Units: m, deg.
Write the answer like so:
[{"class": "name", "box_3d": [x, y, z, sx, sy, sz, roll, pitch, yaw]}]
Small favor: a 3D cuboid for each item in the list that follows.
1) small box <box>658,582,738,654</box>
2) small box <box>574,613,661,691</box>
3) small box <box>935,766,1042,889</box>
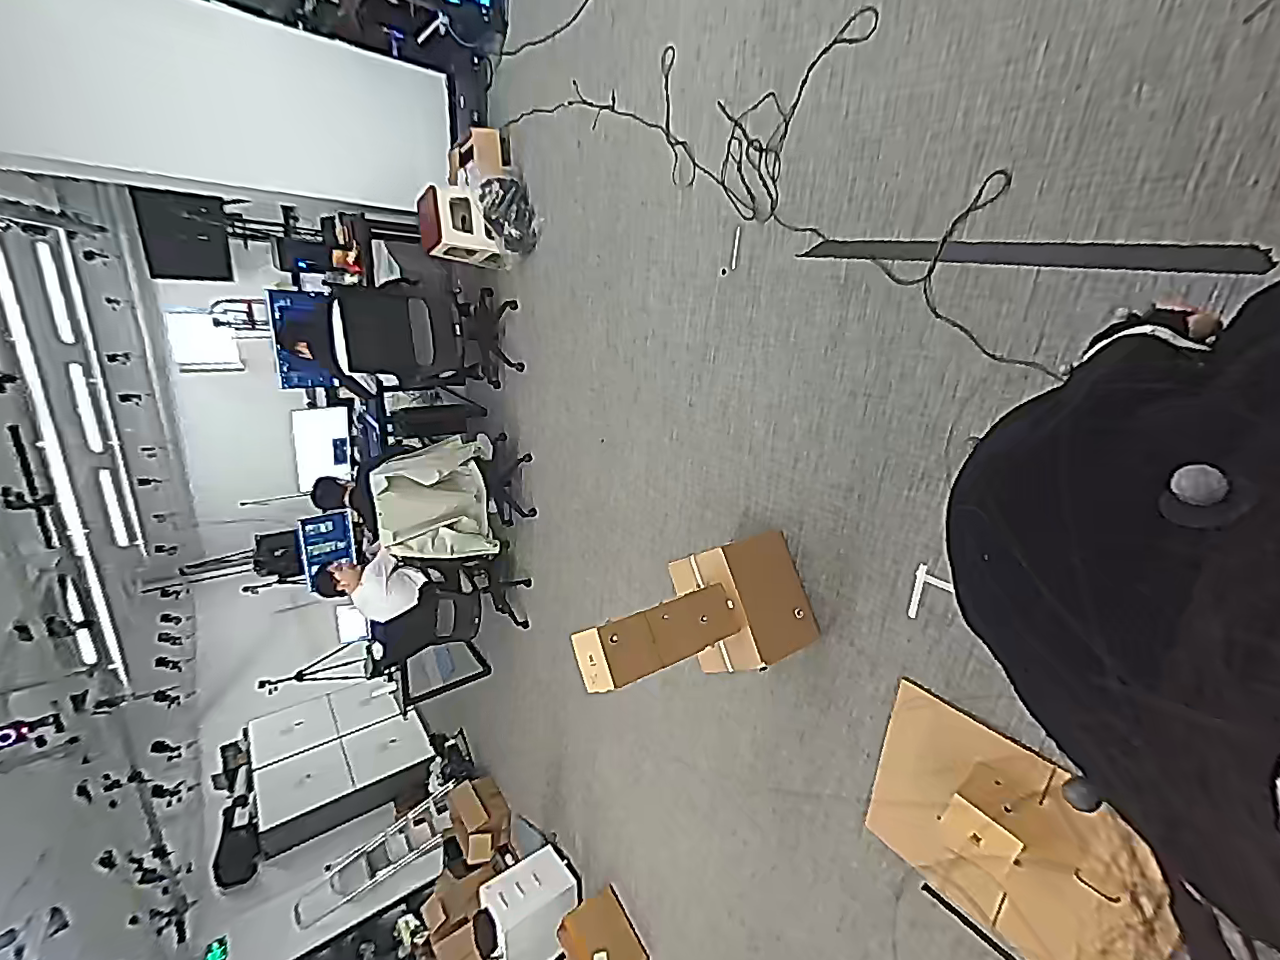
[{"class": "small box", "box_3d": [0.193, 0.452, 1.777, 0.168, 0.176, 0.179, -35, 69, 50]}, {"class": "small box", "box_3d": [-0.066, 0.498, 1.579, 0.168, 0.176, 0.179, -35, 70, 51]}, {"class": "small box", "box_3d": [0.917, 0.900, 1.418, 0.168, 0.176, 0.179, 31, 122, 43]}]
